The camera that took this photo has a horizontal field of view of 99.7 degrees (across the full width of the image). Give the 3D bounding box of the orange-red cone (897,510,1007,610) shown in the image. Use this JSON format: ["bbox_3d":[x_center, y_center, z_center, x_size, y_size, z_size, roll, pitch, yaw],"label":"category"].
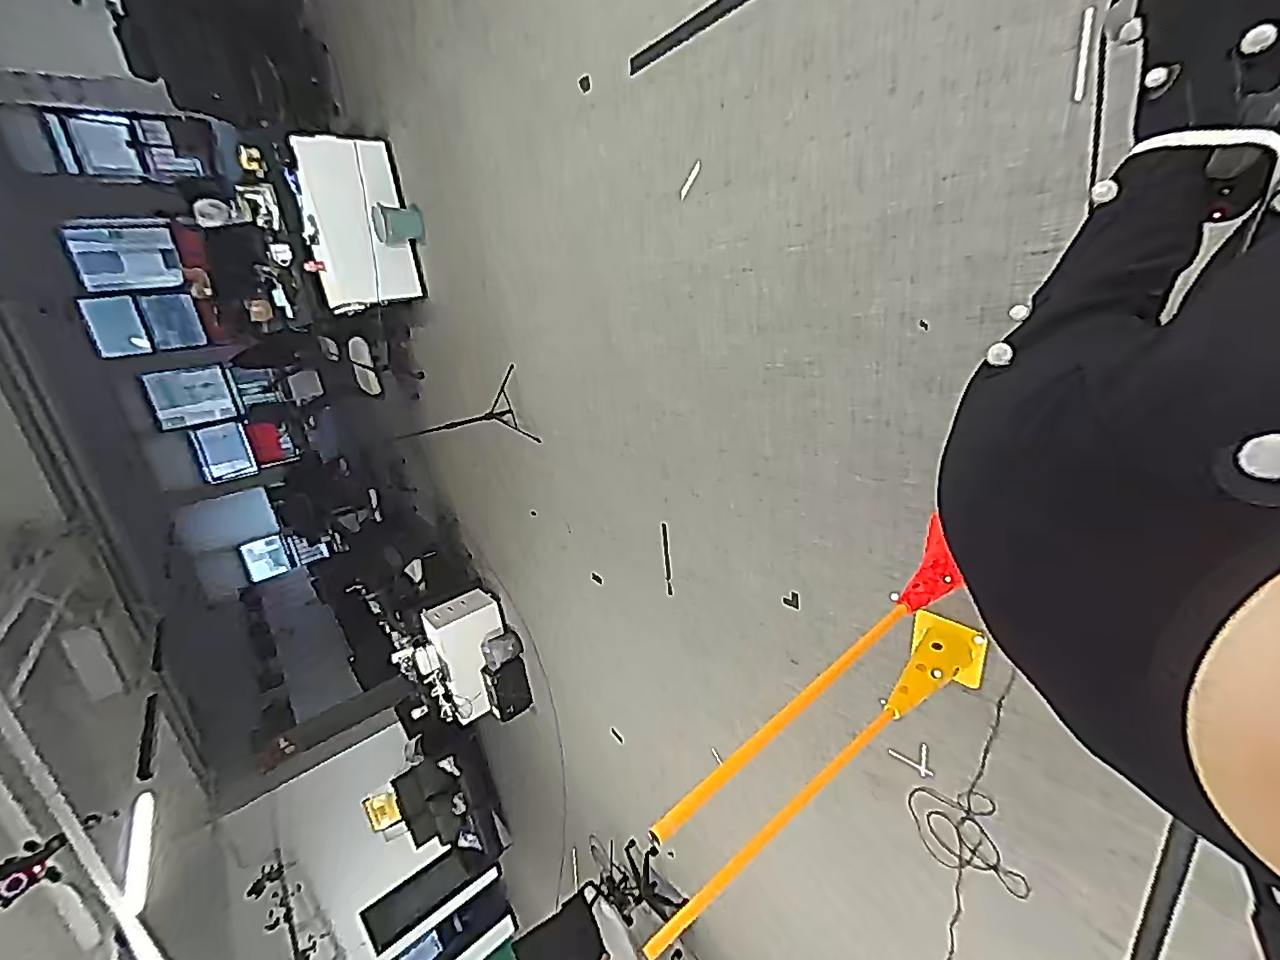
[{"bbox_3d":[0.770,0.245,1.409,0.198,0.360,0.199,24,125,44],"label":"orange-red cone"}]
